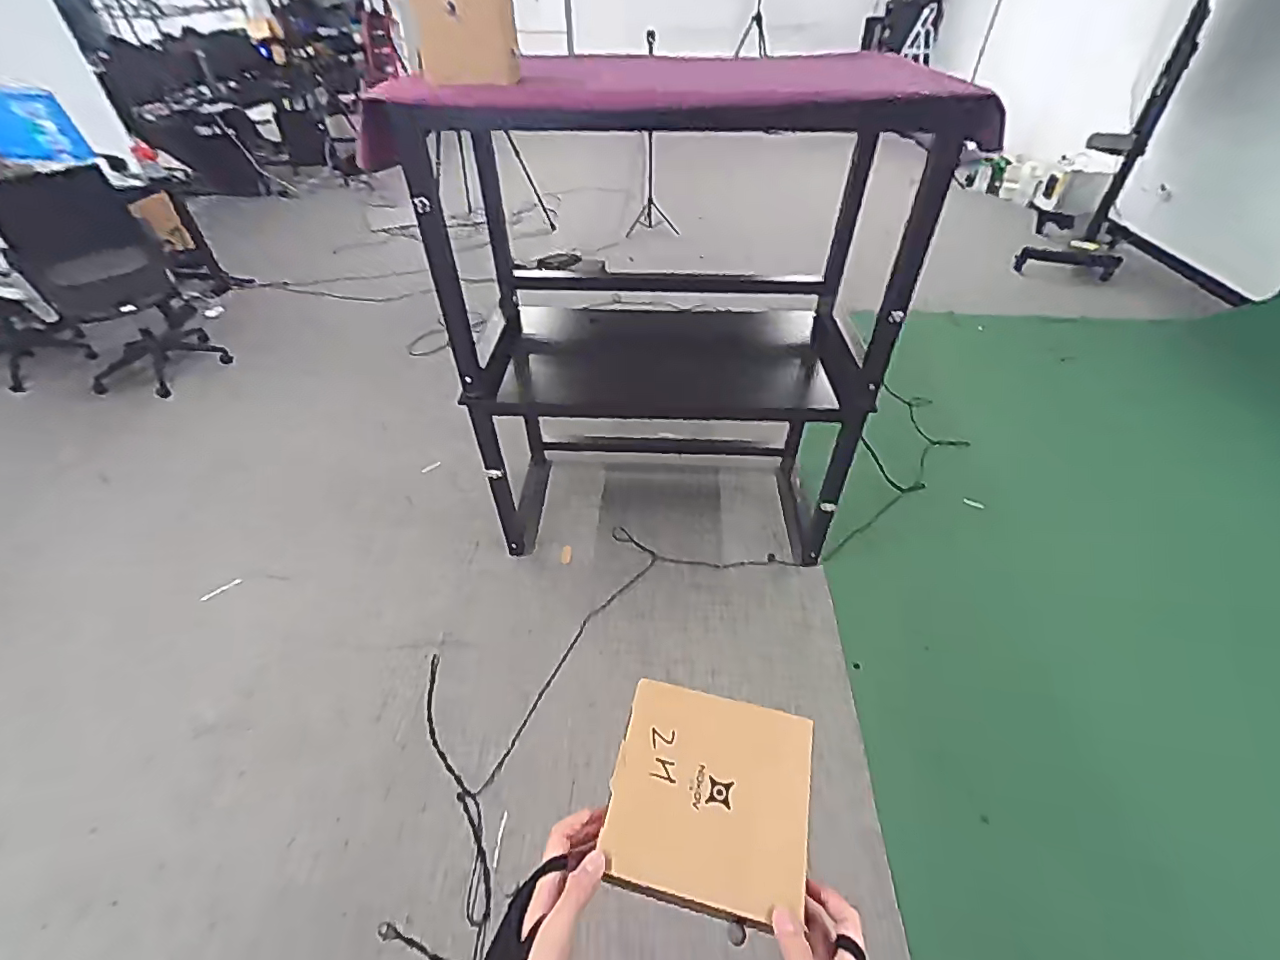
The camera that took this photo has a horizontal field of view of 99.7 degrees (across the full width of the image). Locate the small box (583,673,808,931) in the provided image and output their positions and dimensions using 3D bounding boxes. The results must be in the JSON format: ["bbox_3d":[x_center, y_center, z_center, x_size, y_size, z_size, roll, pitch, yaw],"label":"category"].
[{"bbox_3d":[0.058,0.323,0.543,0.179,0.176,0.168,10,50,11],"label":"small box"}]

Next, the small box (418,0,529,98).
[{"bbox_3d":[-0.342,-0.917,1.140,0.179,0.176,0.168,0,43,-1],"label":"small box"}]
